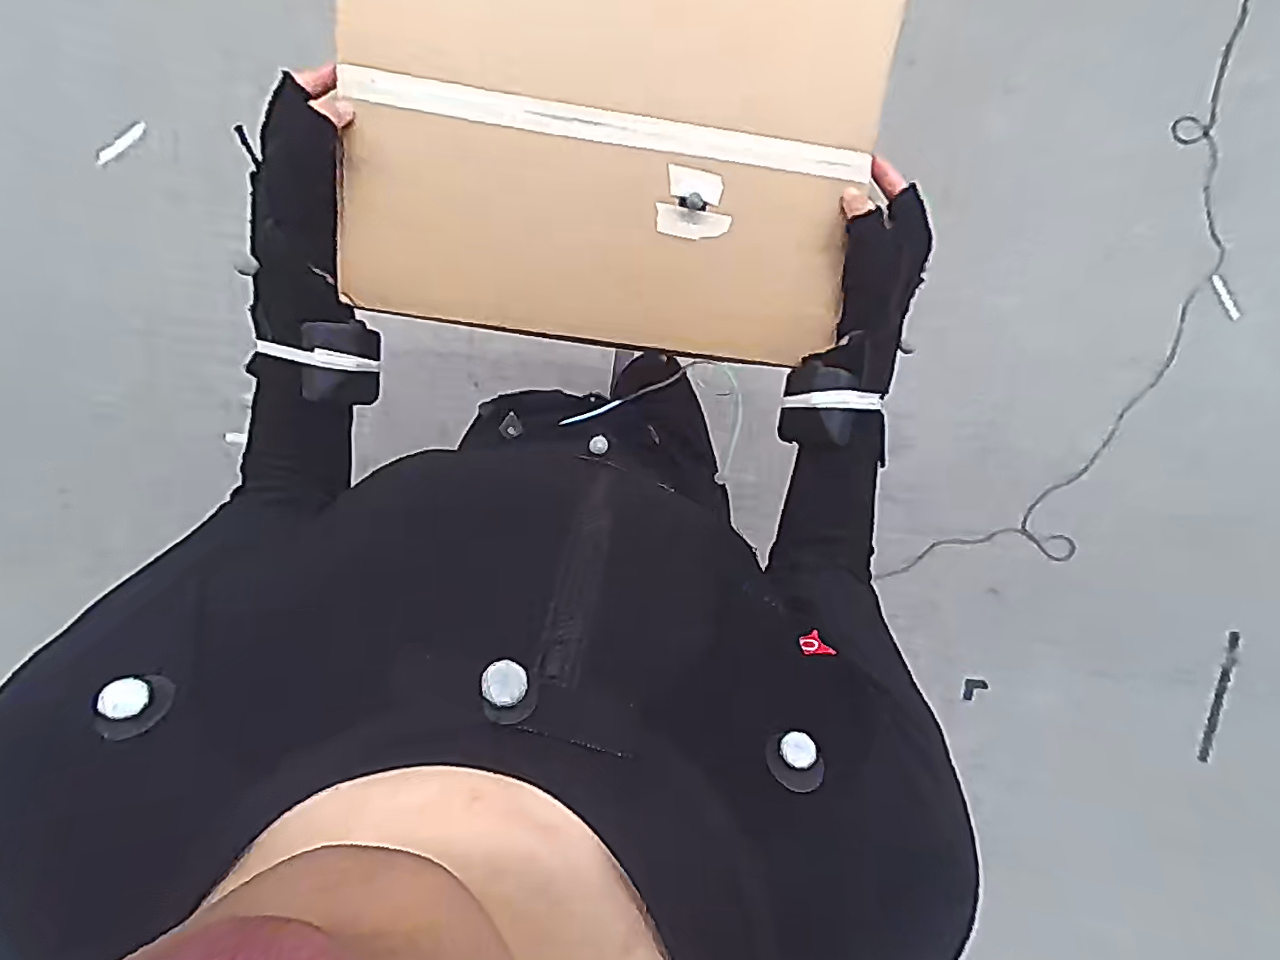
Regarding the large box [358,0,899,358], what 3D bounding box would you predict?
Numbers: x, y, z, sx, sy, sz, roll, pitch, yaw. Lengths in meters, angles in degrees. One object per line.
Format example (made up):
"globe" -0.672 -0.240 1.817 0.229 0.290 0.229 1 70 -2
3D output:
"large box" -0.025 -0.310 0.565 0.408 0.320 0.320 7 104 -6
